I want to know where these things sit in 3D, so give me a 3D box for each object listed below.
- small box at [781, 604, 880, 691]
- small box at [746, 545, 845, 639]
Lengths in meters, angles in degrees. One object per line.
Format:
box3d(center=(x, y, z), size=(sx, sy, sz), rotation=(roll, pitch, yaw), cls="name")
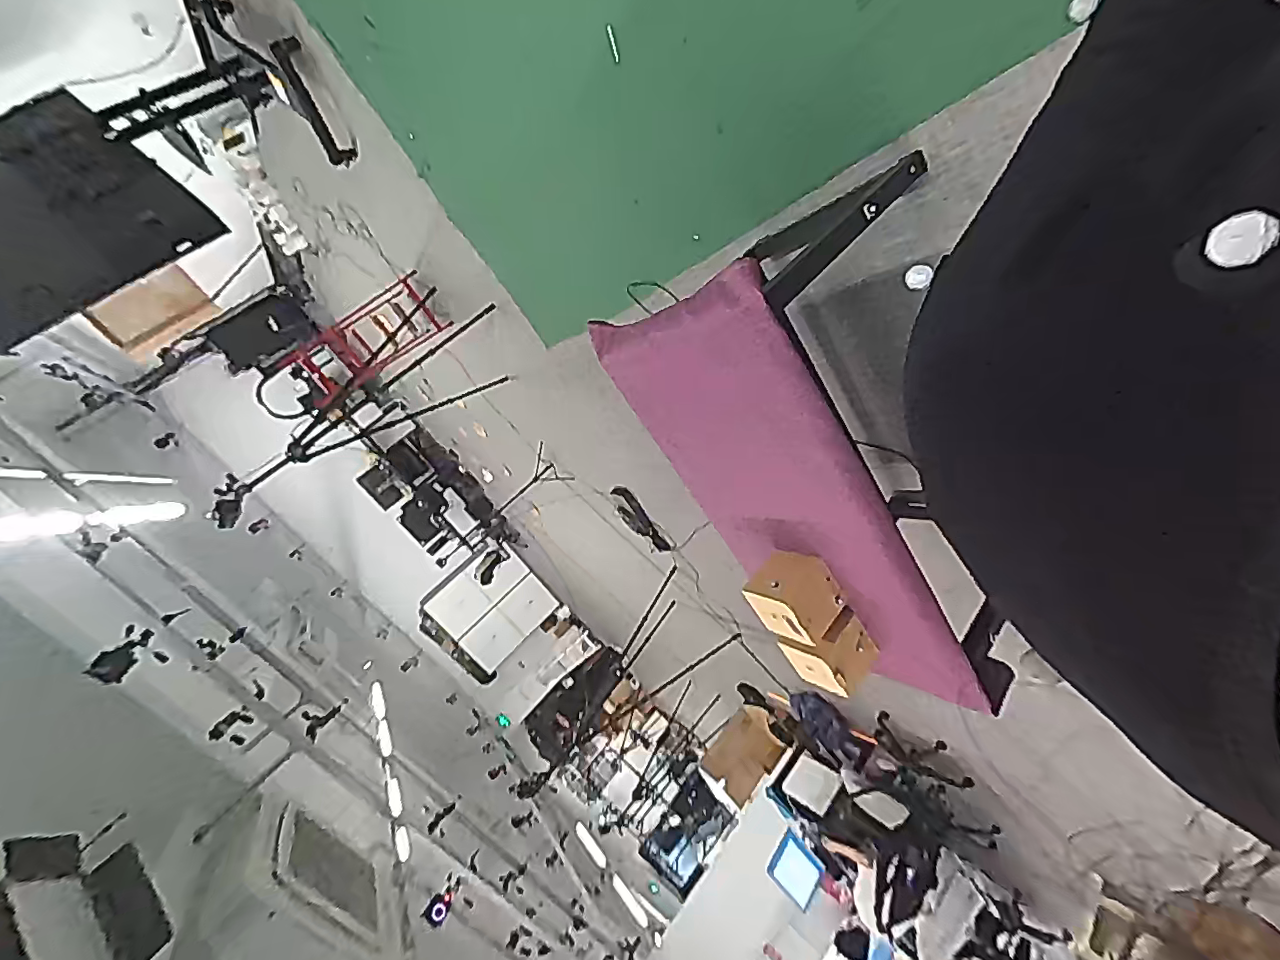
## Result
box3d(center=(0.547, 0.461, 1.547), size=(0.168, 0.176, 0.179), rotation=(54, 157, -20), cls="small box")
box3d(center=(0.430, 0.297, 1.472), size=(0.168, 0.176, 0.179), rotation=(54, 157, -20), cls="small box")
